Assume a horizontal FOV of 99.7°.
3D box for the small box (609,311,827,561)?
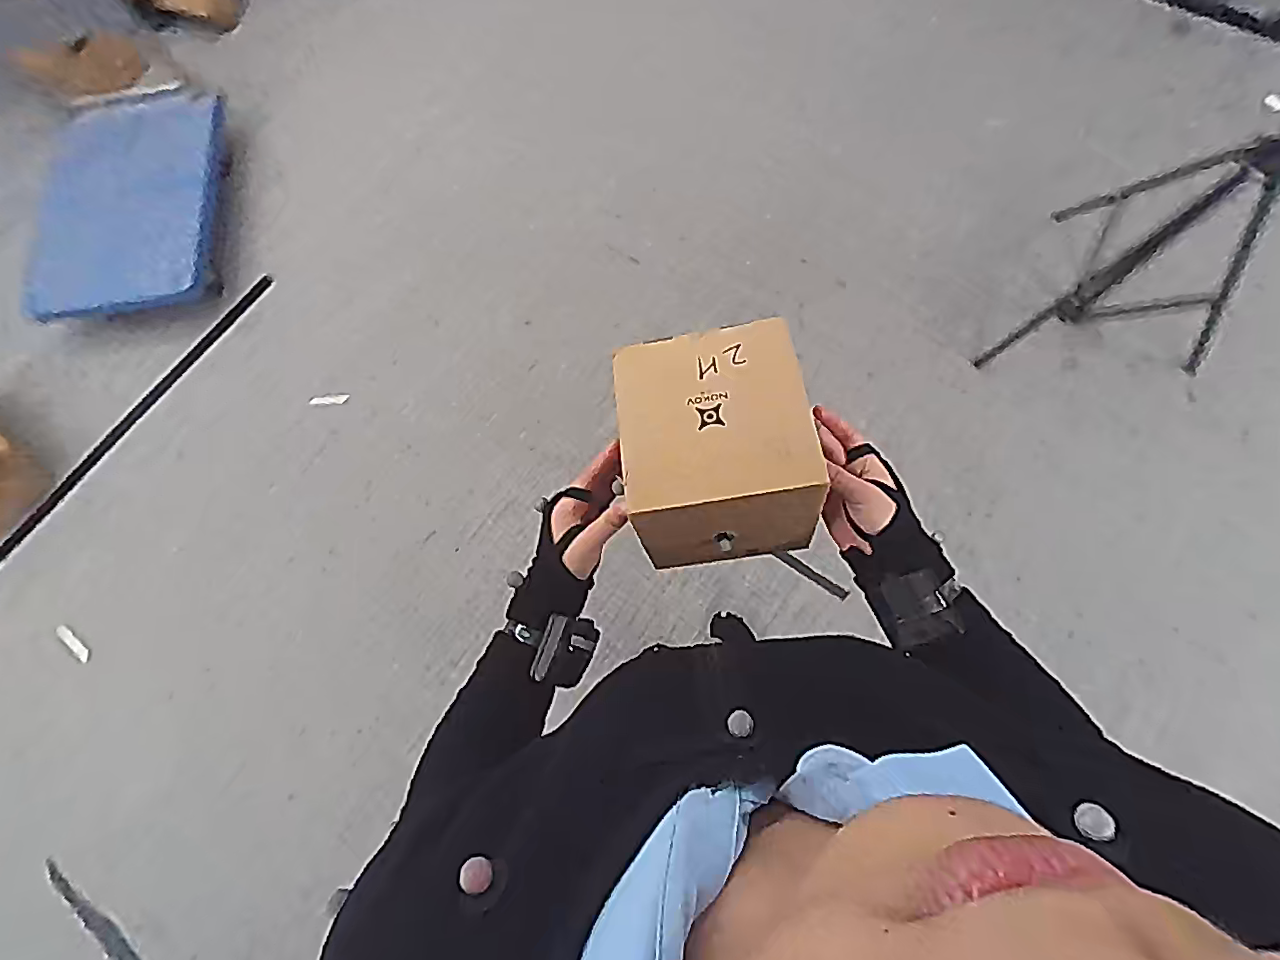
[{"bbox_3d":[0.074,-0.029,0.533,0.168,0.176,0.179,-11,62,6],"label":"small box"}]
